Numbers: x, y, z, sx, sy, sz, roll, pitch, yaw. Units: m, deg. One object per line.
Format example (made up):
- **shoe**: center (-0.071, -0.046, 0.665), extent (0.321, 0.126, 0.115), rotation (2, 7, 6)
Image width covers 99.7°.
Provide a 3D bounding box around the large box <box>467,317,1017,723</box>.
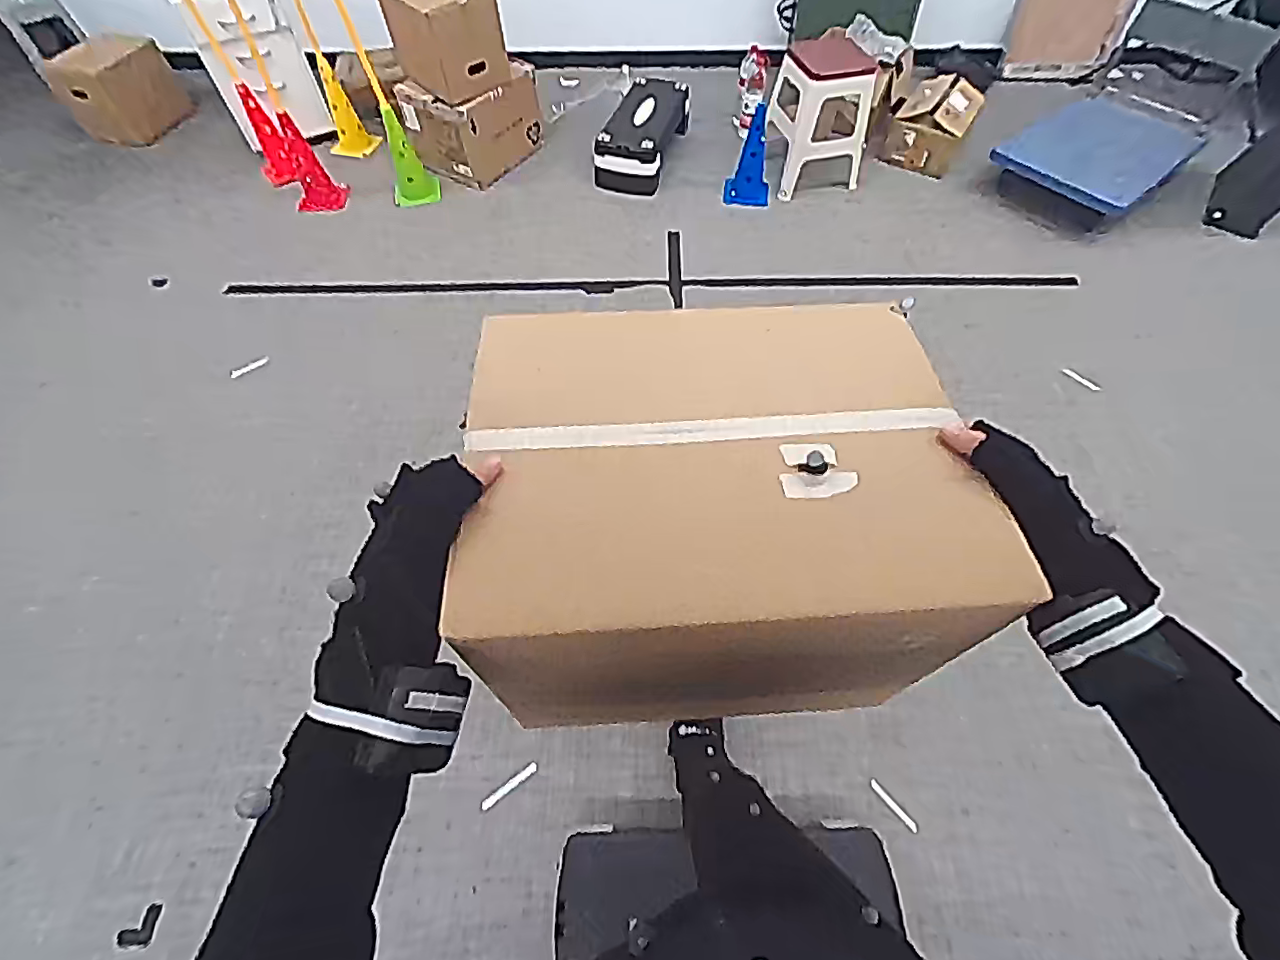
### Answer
- **large box**: center (0.062, 0.052, 0.585), extent (0.408, 0.320, 0.320), rotation (-3, 55, -3)
